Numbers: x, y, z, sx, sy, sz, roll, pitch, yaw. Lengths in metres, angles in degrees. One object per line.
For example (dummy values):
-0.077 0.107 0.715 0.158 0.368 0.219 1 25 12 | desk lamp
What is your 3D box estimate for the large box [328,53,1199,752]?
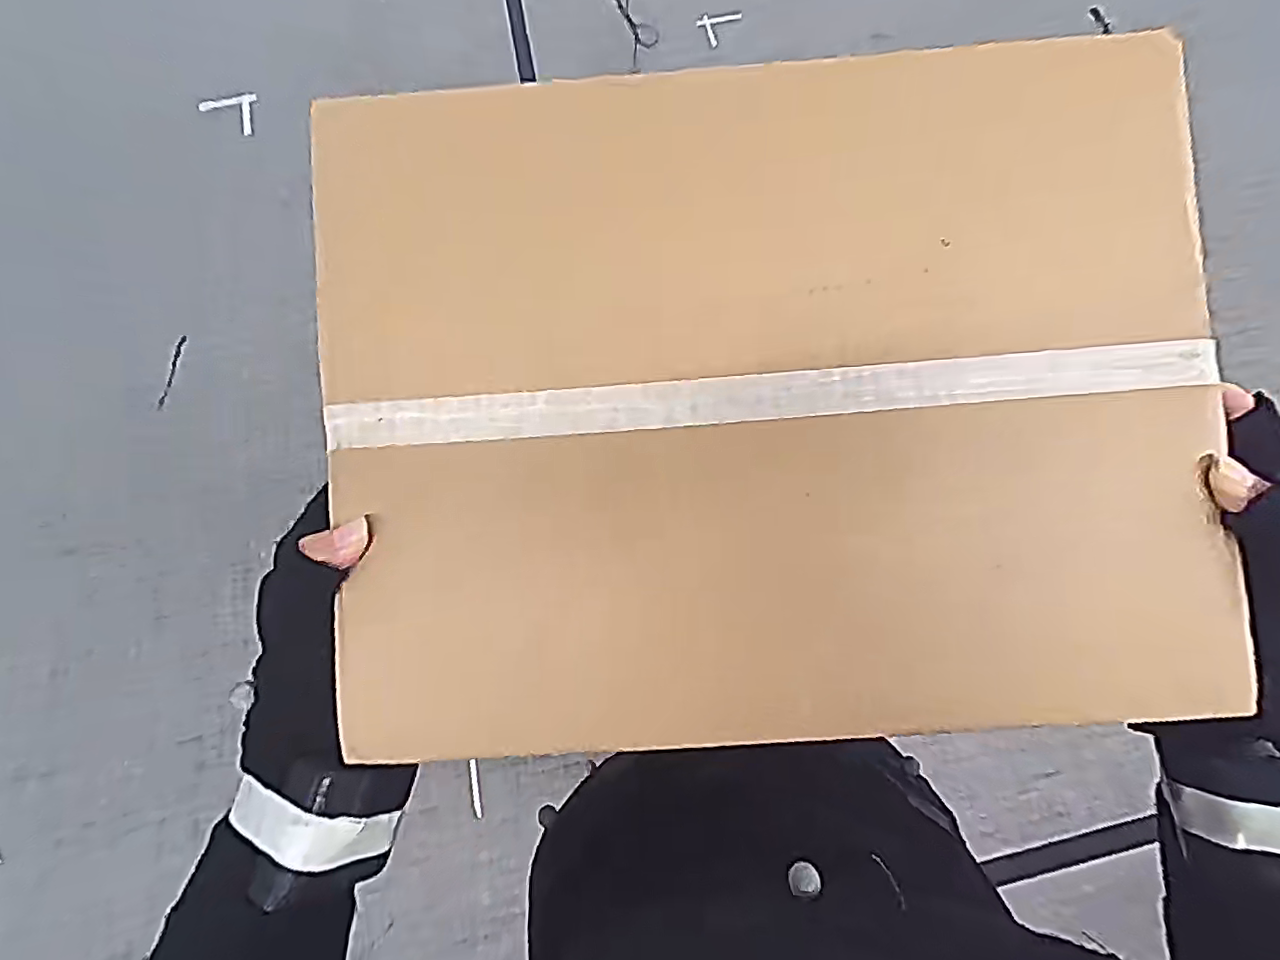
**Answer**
0.058 -0.034 0.409 0.408 0.320 0.320 -4 87 1 | large box
